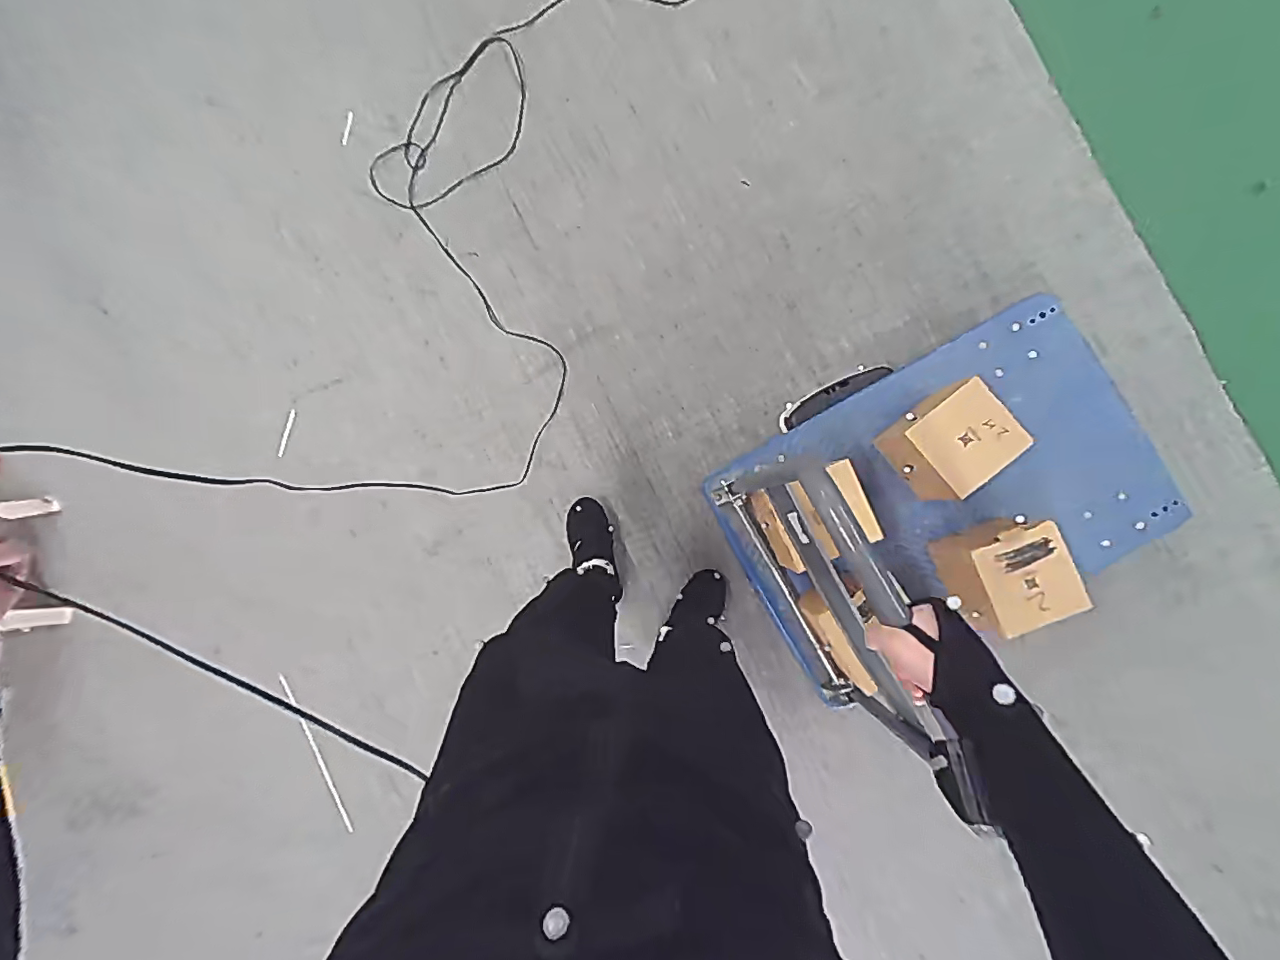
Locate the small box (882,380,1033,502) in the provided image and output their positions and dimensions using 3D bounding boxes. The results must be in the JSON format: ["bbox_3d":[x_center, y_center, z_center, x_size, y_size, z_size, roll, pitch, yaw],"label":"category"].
[{"bbox_3d":[0.617,-0.068,1.085,0.179,0.176,0.168,-38,86,1],"label":"small box"}]

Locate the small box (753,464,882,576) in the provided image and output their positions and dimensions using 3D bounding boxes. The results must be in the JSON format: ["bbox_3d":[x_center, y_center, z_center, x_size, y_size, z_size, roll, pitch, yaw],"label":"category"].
[{"bbox_3d":[0.349,0.076,1.096,0.179,0.176,0.168,-23,87,3],"label":"small box"}]

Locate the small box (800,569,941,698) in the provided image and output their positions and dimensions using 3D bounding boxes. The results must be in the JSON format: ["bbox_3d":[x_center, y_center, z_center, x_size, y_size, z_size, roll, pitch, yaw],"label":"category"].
[{"bbox_3d":[0.444,0.292,1.077,0.168,0.176,0.179,-32,88,3],"label":"small box"}]
